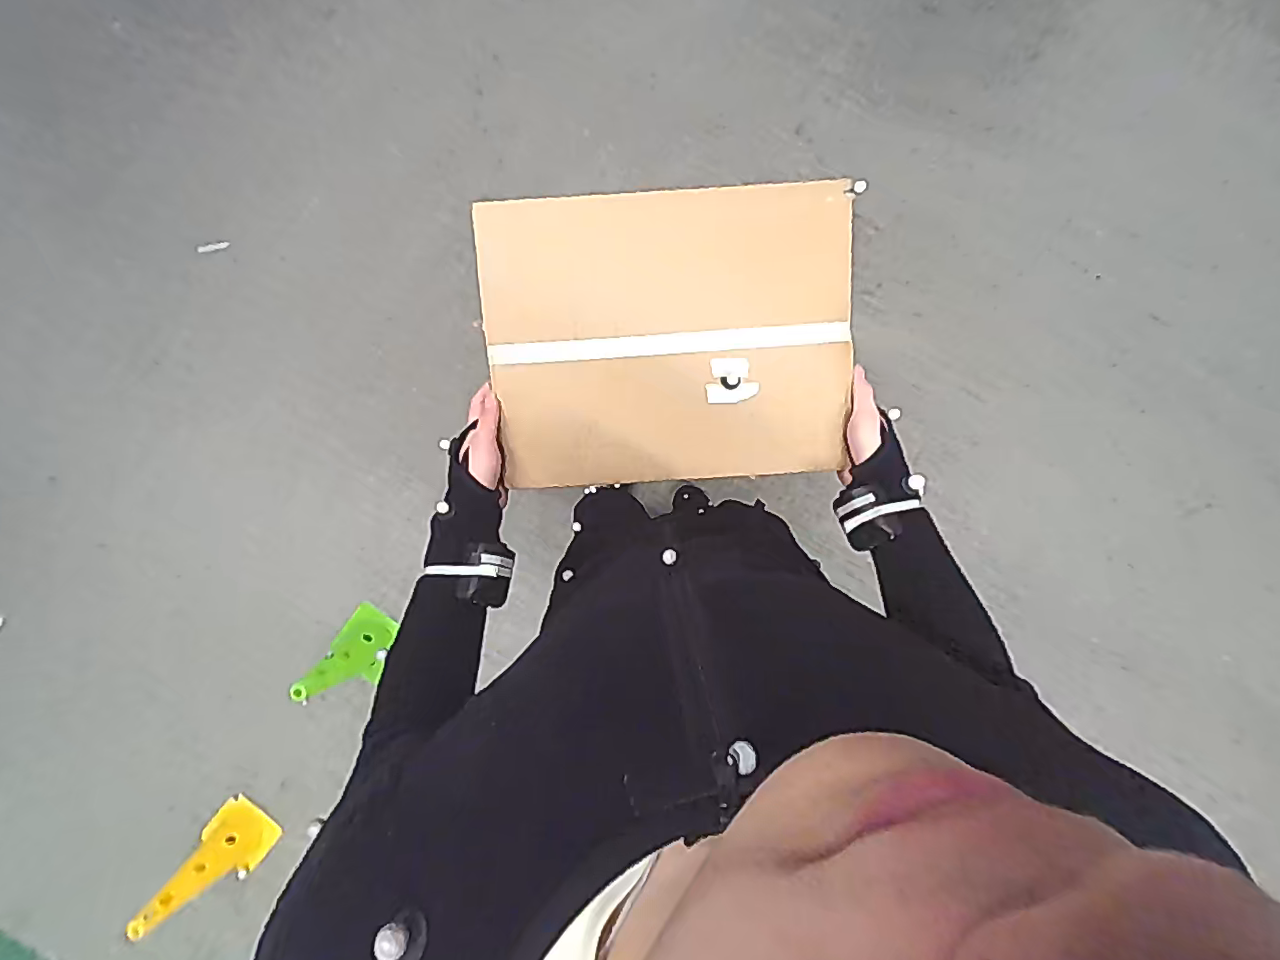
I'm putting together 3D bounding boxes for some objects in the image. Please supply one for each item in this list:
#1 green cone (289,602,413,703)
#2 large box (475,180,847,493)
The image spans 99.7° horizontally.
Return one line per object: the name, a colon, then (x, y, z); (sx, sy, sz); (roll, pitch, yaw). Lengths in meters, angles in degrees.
green cone: (-0.839, 0.515, 1.510); (0.200, 0.368, 0.202); (36, 94, 0)
large box: (0.029, -0.181, 0.756); (0.408, 0.320, 0.320); (-5, 102, 0)
